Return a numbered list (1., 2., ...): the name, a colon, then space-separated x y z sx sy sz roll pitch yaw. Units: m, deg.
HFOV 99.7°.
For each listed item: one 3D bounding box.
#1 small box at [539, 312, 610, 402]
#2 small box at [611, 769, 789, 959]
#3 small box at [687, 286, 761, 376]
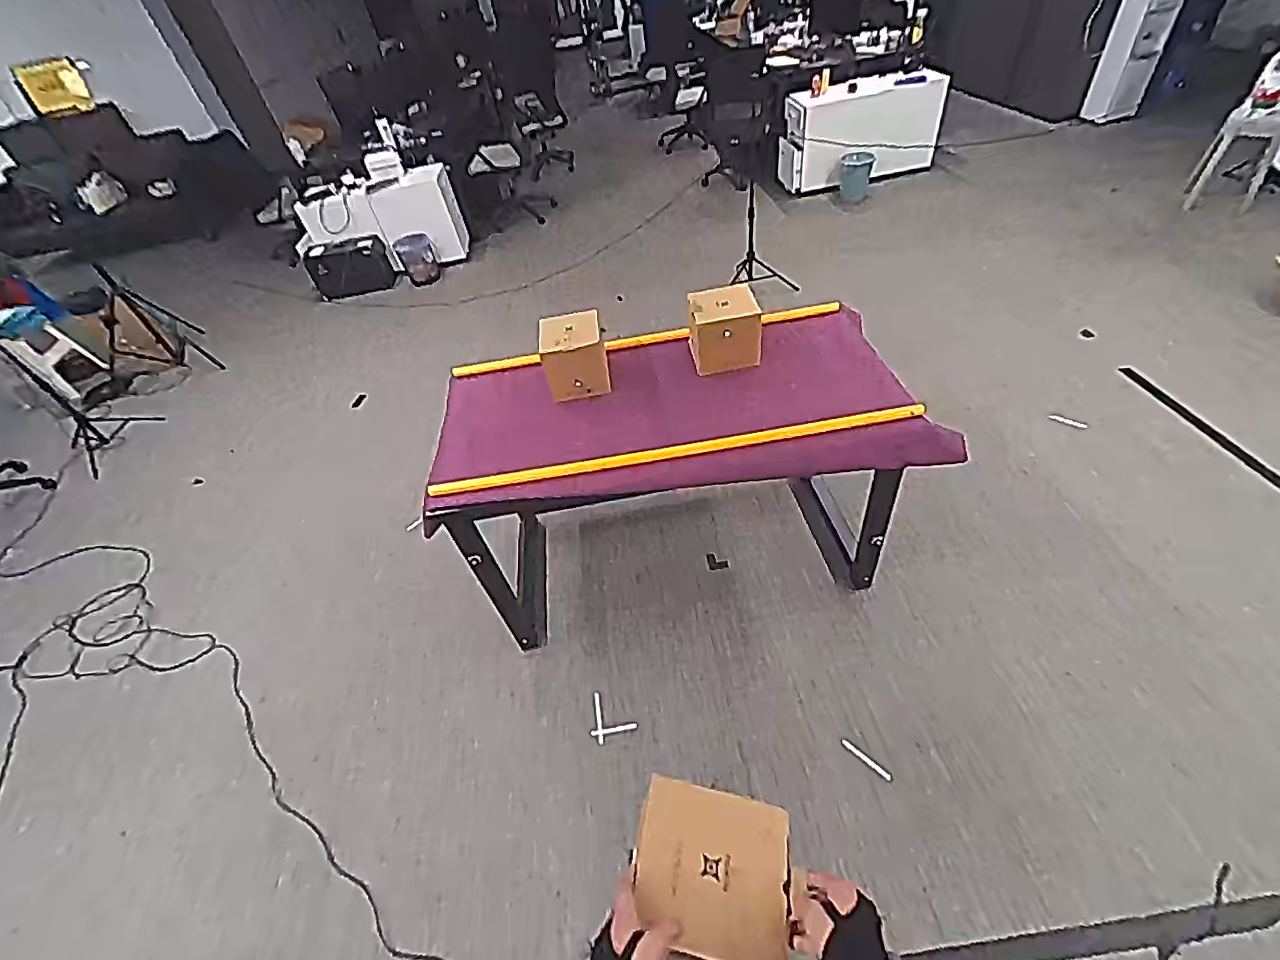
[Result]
1. small box: -0.183 -0.347 1.532 0.168 0.176 0.179 -10 47 2
2. small box: 0.072 0.494 0.672 0.179 0.176 0.168 14 43 4
3. small box: 0.234 -0.418 1.522 0.179 0.176 0.168 -10 47 2
